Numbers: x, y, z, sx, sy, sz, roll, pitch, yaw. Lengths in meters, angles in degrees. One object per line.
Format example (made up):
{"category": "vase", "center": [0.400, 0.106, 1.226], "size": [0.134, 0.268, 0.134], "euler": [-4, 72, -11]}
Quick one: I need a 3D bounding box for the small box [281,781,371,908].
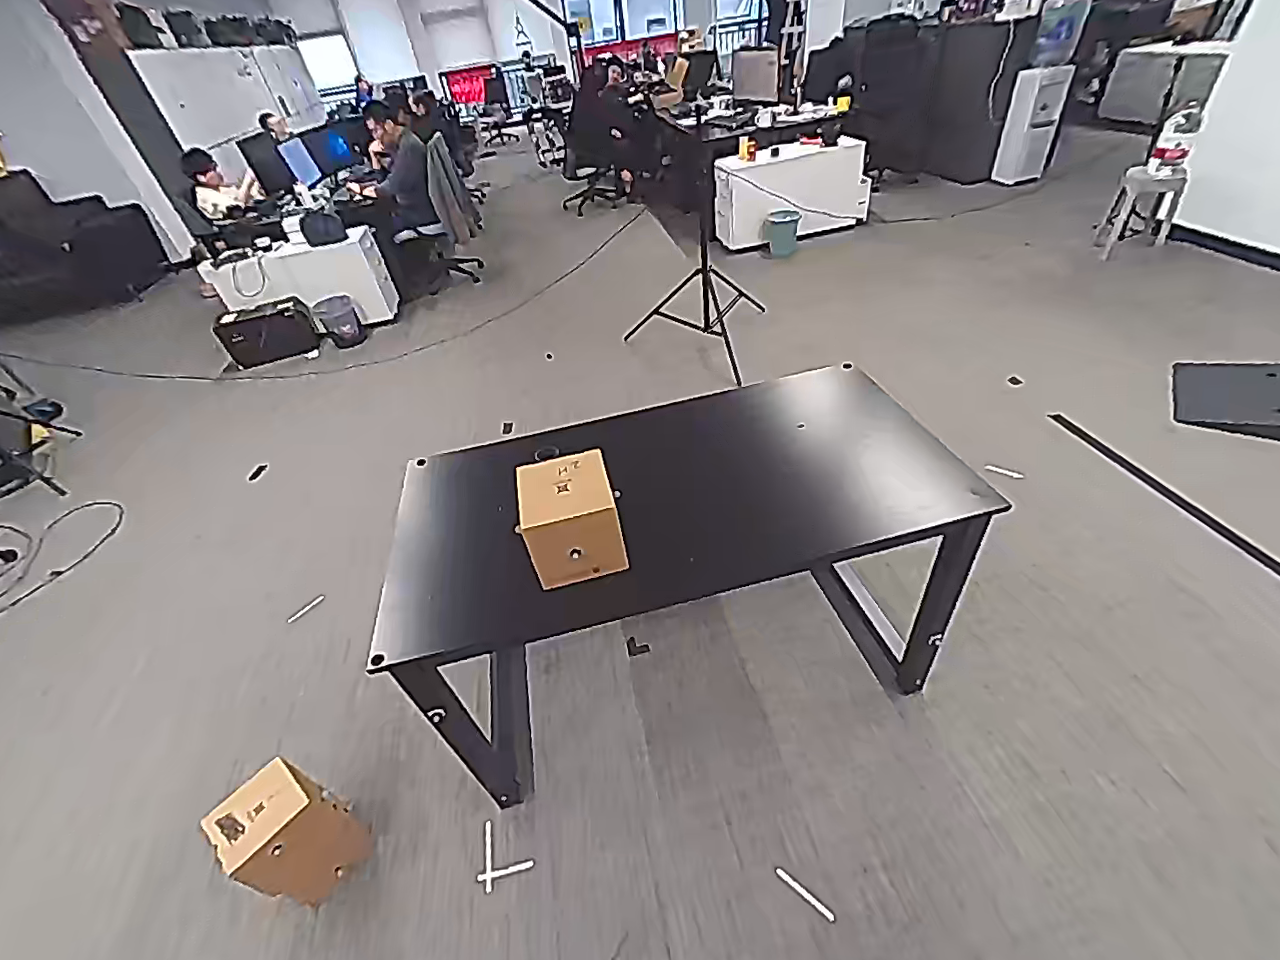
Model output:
{"category": "small box", "center": [-0.802, 0.904, 1.342], "size": [0.168, 0.176, 0.179], "euler": [22, 48, 32]}

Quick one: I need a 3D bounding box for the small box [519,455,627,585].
{"category": "small box", "center": [-0.128, 0.082, 1.038], "size": [0.168, 0.176, 0.179], "euler": [-13, 40, -5]}

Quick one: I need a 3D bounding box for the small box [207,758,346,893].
{"category": "small box", "center": [-0.815, 0.785, 1.226], "size": [0.168, 0.176, 0.179], "euler": [24, 50, 33]}
